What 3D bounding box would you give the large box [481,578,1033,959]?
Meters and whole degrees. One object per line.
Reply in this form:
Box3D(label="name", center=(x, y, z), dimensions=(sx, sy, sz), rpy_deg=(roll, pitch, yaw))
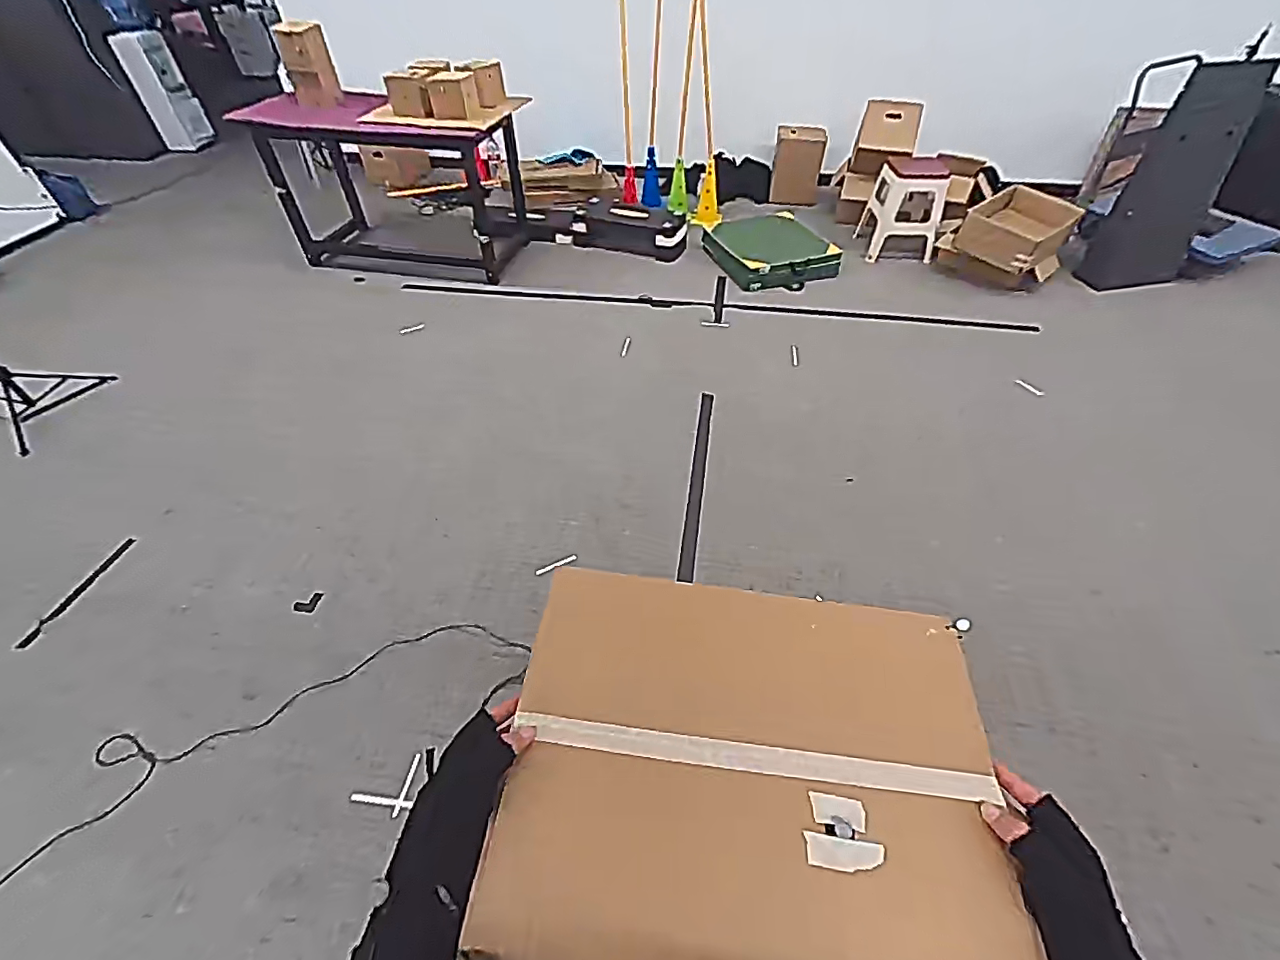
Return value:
Box3D(label="large box", center=(0.089, 0.334, 0.580), dimensions=(0.408, 0.320, 0.320), rpy_deg=(7, 51, 2))
